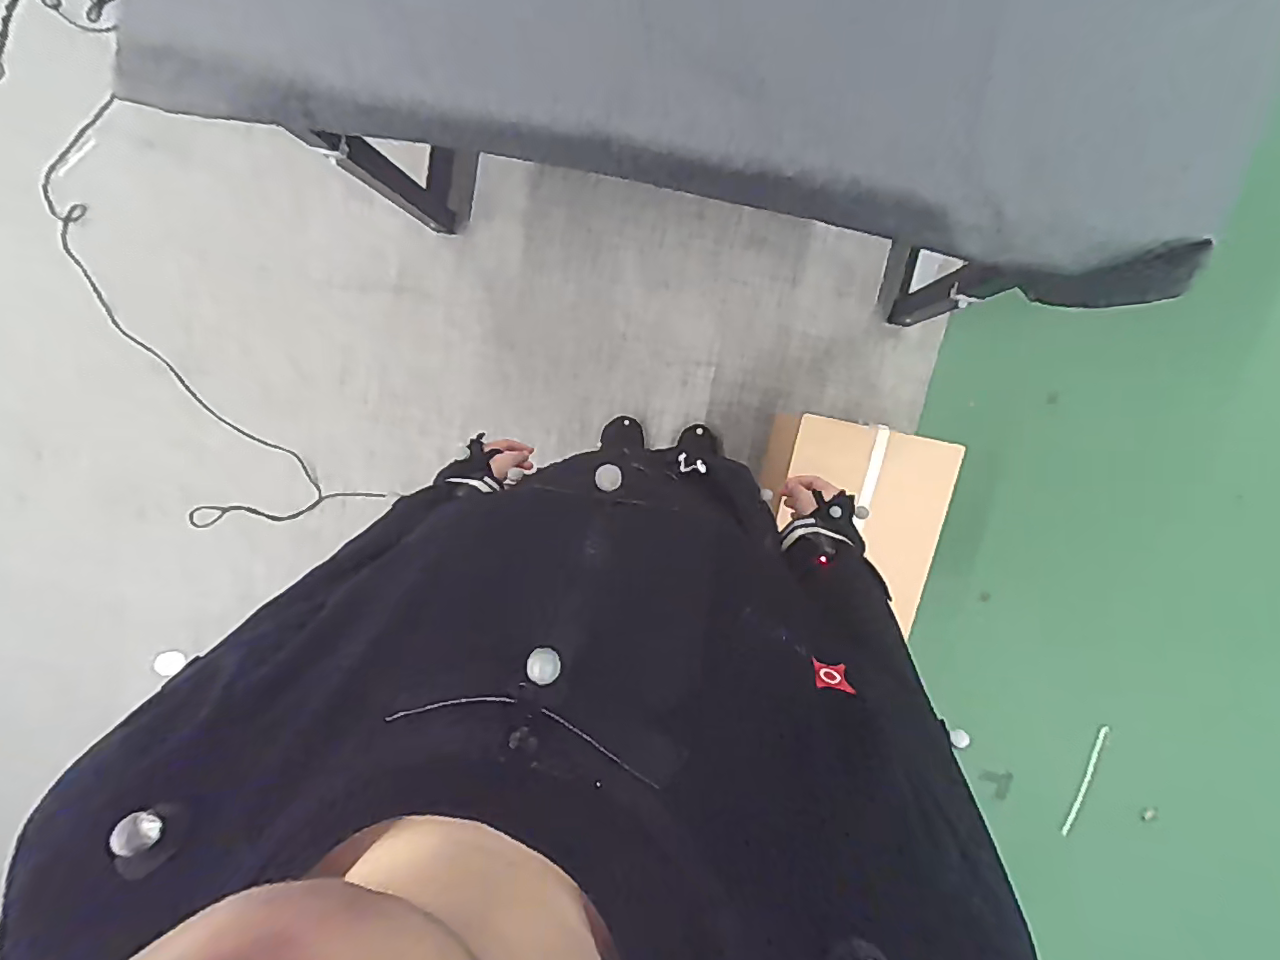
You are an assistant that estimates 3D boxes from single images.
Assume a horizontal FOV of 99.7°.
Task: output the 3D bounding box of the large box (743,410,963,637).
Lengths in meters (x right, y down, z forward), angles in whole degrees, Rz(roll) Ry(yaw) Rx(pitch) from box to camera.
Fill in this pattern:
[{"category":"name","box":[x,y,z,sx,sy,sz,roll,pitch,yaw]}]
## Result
[{"category":"large box","box":[0.434,0.069,1.195,0.320,0.320,0.408,12,99,3]}]
